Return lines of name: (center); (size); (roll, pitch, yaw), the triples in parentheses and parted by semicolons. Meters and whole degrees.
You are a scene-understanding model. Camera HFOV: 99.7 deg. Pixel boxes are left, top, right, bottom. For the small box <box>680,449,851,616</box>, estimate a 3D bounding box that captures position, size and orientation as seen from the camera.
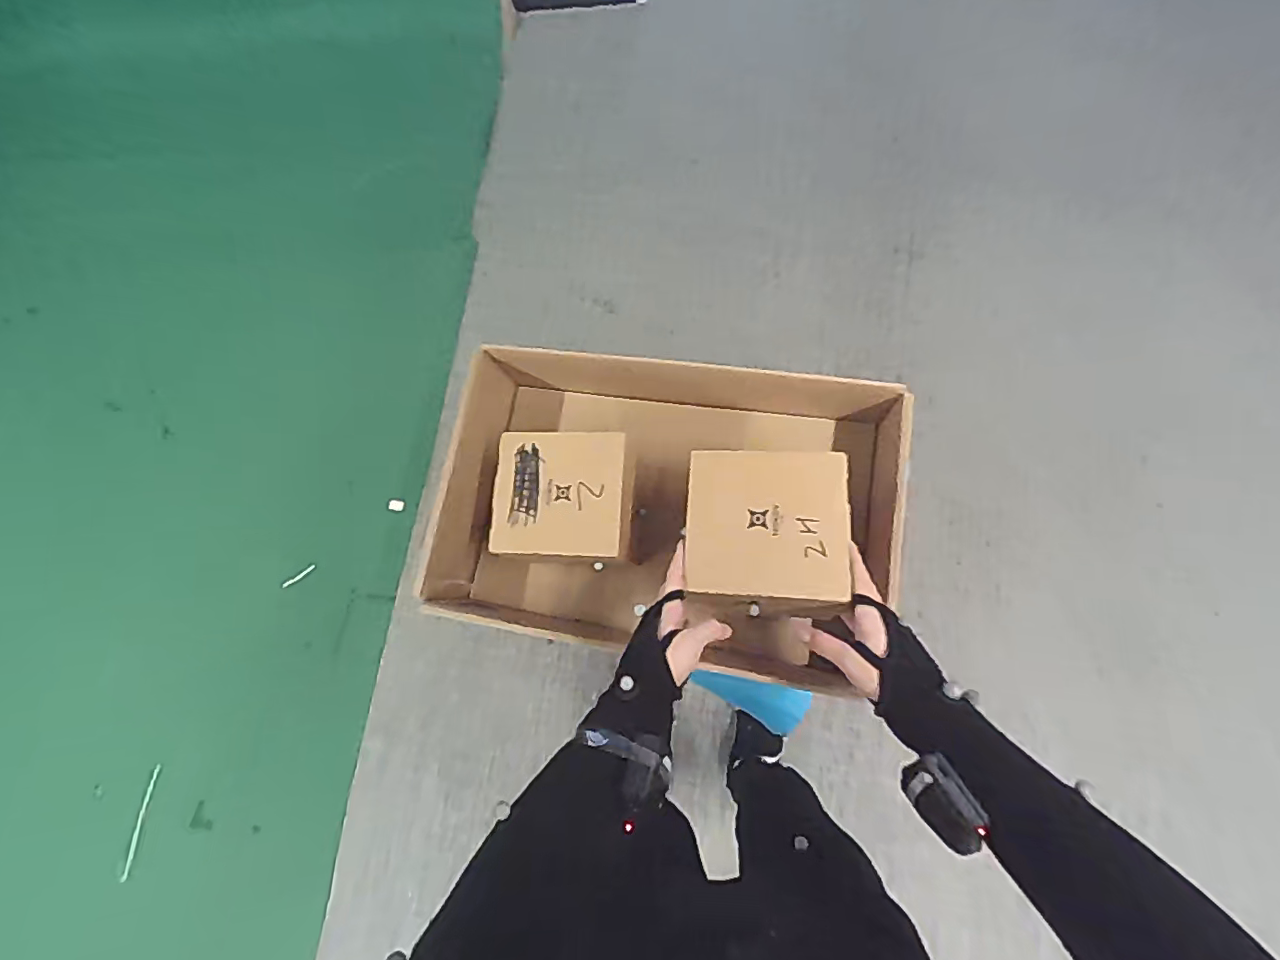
small box: (0.149, 0.070, 0.657); (0.179, 0.176, 0.168); (2, 71, 11)
